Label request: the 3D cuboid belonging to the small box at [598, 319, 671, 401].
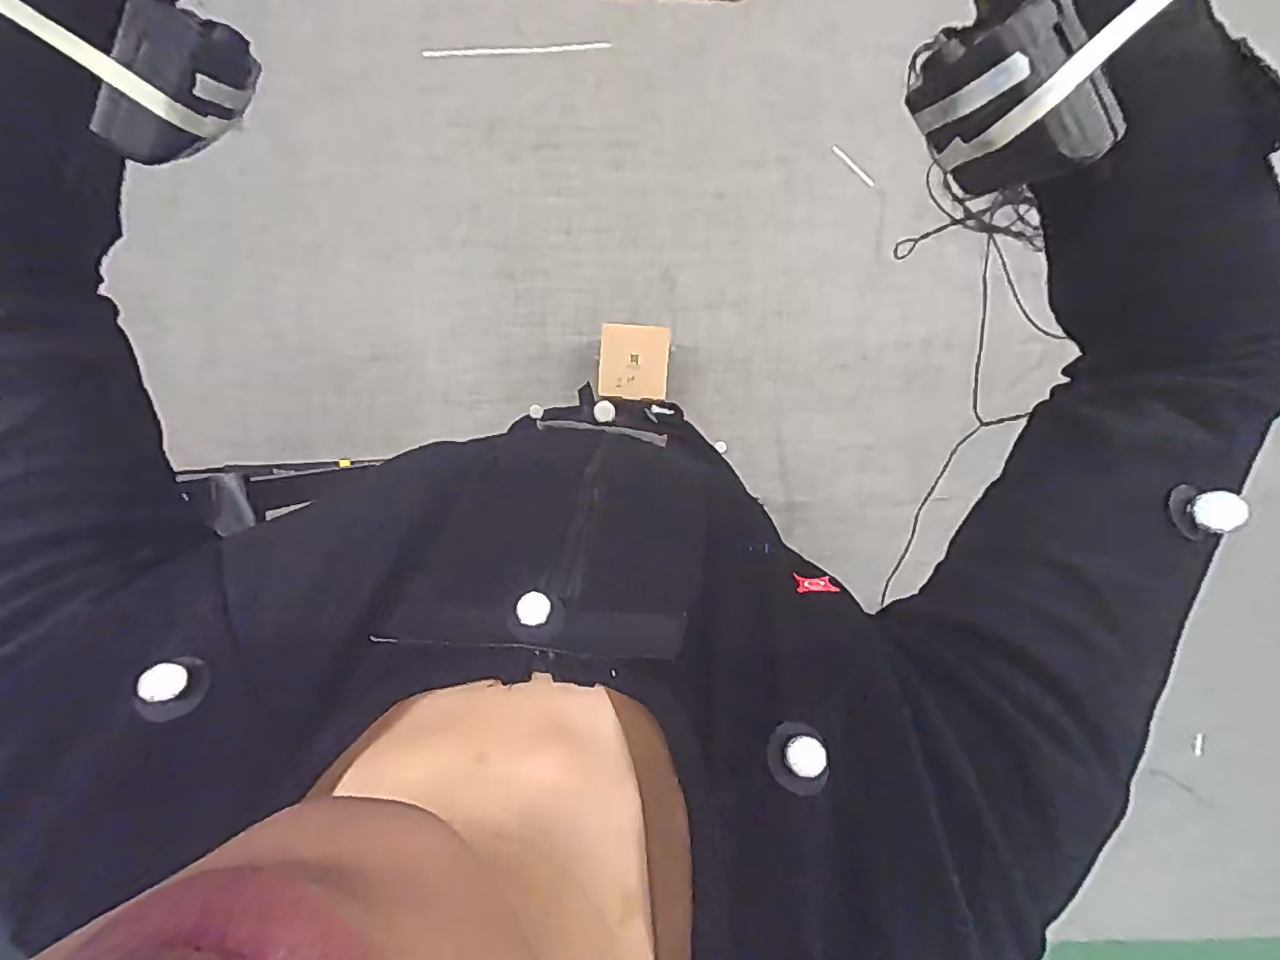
[{"bbox_3d":[-0.014,-0.299,1.373,0.168,0.176,0.179,4,95,1],"label":"small box"}]
